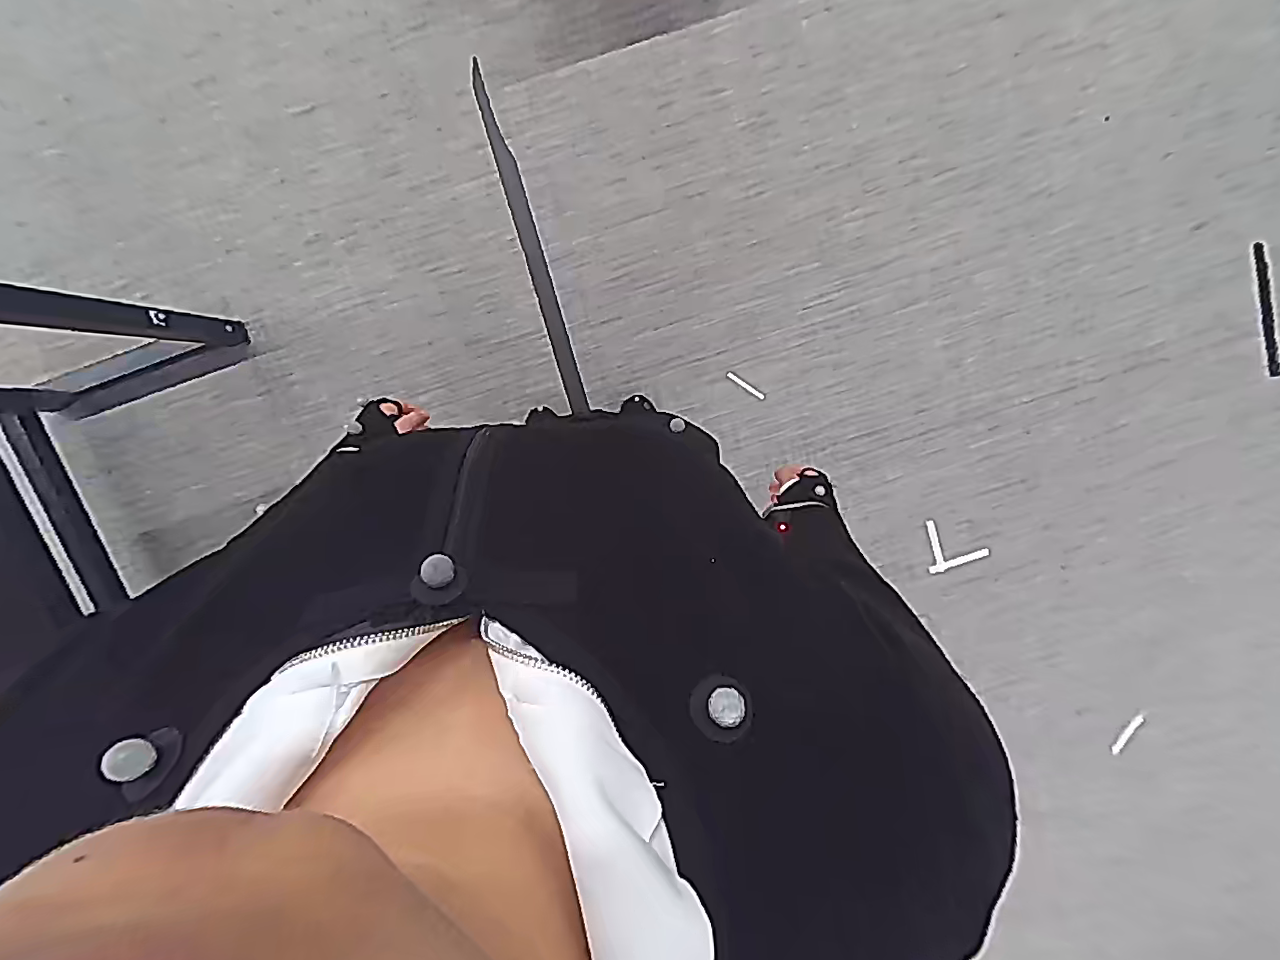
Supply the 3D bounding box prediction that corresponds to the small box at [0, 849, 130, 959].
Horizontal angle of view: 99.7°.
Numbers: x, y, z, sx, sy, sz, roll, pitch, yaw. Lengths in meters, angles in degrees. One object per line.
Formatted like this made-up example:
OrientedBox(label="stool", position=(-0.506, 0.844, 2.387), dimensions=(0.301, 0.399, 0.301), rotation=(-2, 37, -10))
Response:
OrientedBox(label="small box", position=(-0.903, 0.683, 0.771), dimensions=(0.168, 0.176, 0.179), rotation=(-19, 99, 3))
